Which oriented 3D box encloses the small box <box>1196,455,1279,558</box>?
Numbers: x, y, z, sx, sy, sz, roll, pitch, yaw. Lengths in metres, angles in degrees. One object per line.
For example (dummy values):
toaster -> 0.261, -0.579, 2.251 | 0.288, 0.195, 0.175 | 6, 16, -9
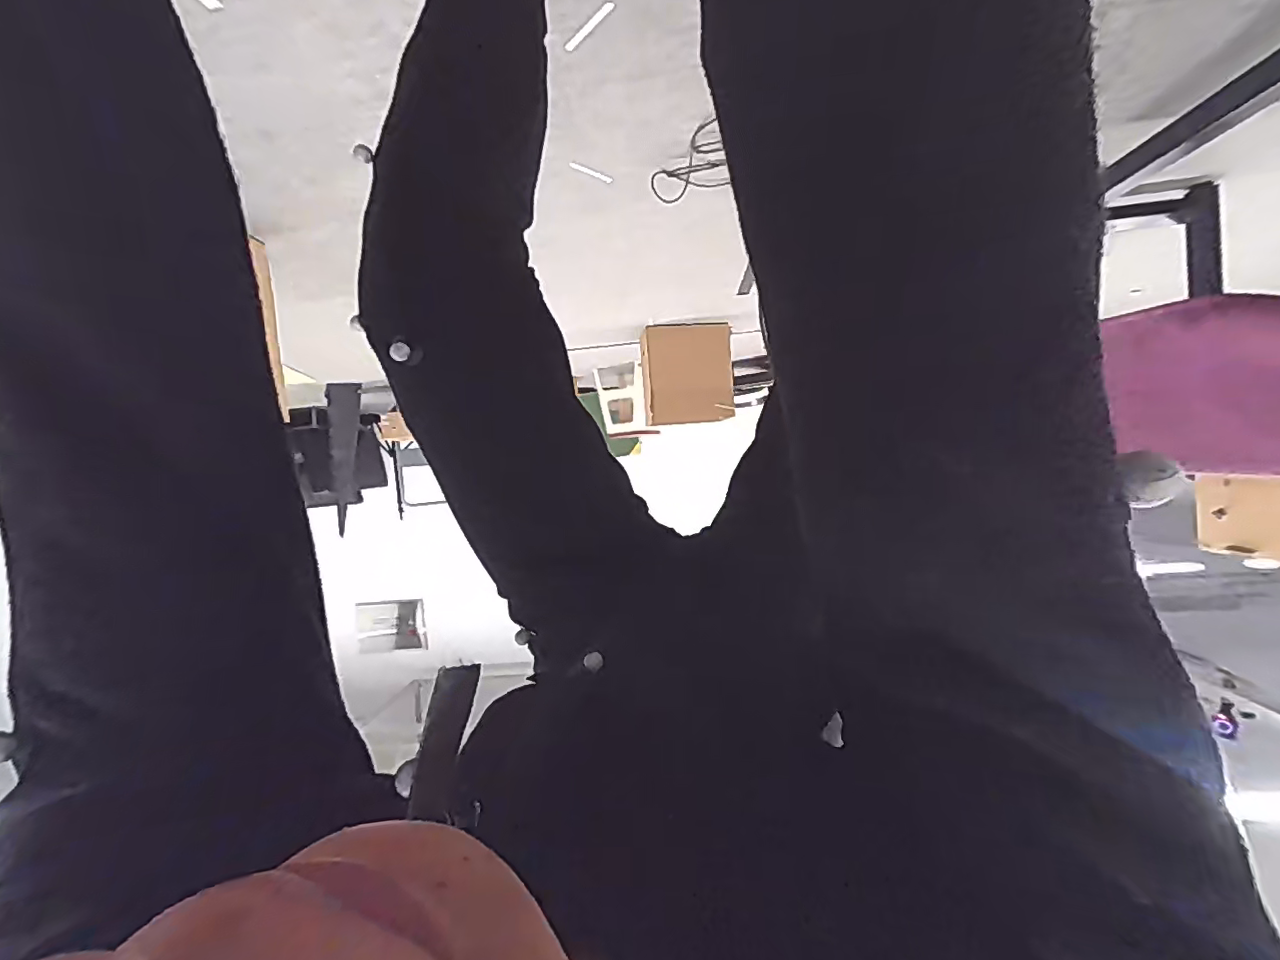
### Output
small box -> 1.178, 0.041, 0.987 | 0.179, 0.176, 0.168 | -6, -177, 1
